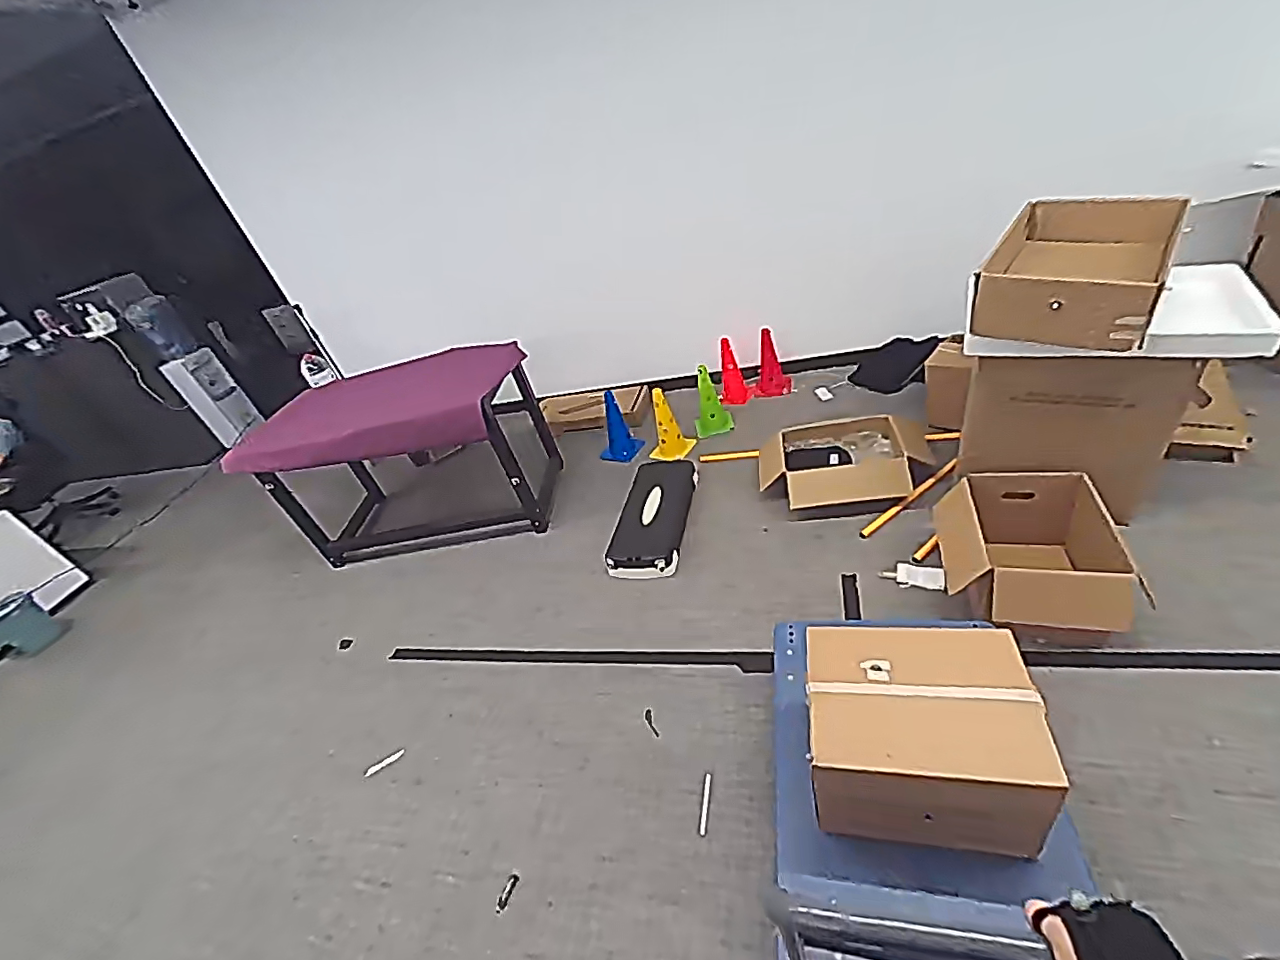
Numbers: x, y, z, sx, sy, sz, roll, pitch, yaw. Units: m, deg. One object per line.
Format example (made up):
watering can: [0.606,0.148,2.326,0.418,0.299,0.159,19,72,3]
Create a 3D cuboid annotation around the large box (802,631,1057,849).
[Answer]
large box: [0.574,0.544,1.153,0.408,0.320,0.320,-6,36,18]
